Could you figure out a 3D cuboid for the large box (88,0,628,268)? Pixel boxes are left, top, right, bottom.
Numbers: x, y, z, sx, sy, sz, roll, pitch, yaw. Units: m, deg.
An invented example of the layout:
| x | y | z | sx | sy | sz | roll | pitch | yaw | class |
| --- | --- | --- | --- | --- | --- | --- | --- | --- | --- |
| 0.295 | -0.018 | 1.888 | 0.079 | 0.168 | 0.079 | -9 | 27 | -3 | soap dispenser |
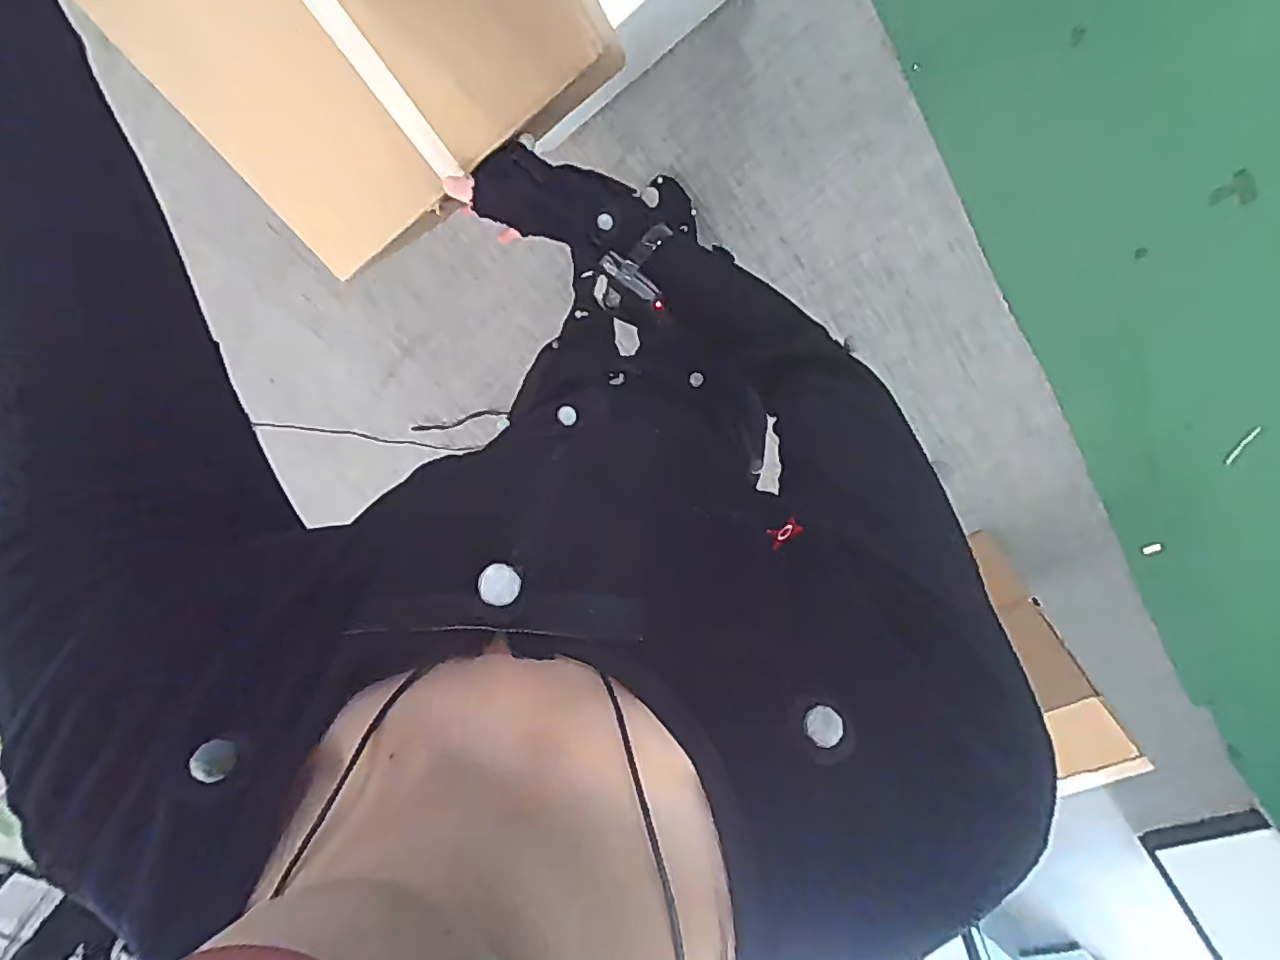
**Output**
| x | y | z | sx | sy | sz | roll | pitch | yaw | class |
| --- | --- | --- | --- | --- | --- | --- | --- | --- | --- |
| -0.257 | -0.485 | 0.490 | 0.320 | 0.320 | 0.408 | -27 | 119 | 21 | large box |
